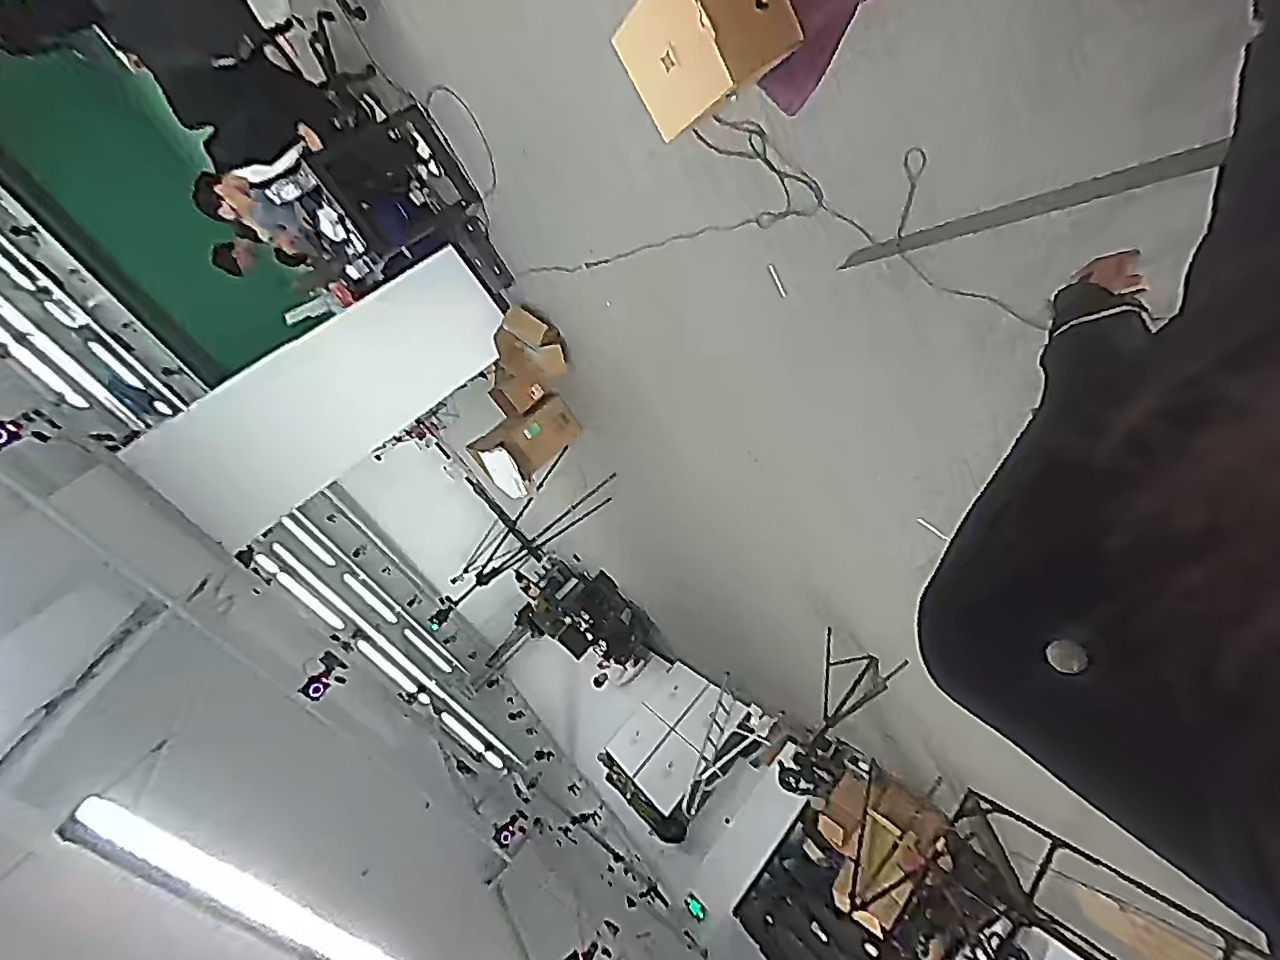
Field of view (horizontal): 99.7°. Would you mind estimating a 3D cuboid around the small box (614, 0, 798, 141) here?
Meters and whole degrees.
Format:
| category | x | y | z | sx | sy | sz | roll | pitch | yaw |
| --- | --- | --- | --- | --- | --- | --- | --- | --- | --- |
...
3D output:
| category | x | y | z | sx | sy | sz | roll | pitch | yaw |
| --- | --- | --- | --- | --- | --- | --- | --- | --- | --- |
| small box | 0.098 | -0.658 | 0.807 | 0.168 | 0.176 | 0.179 | 54 | 158 | -21 |
